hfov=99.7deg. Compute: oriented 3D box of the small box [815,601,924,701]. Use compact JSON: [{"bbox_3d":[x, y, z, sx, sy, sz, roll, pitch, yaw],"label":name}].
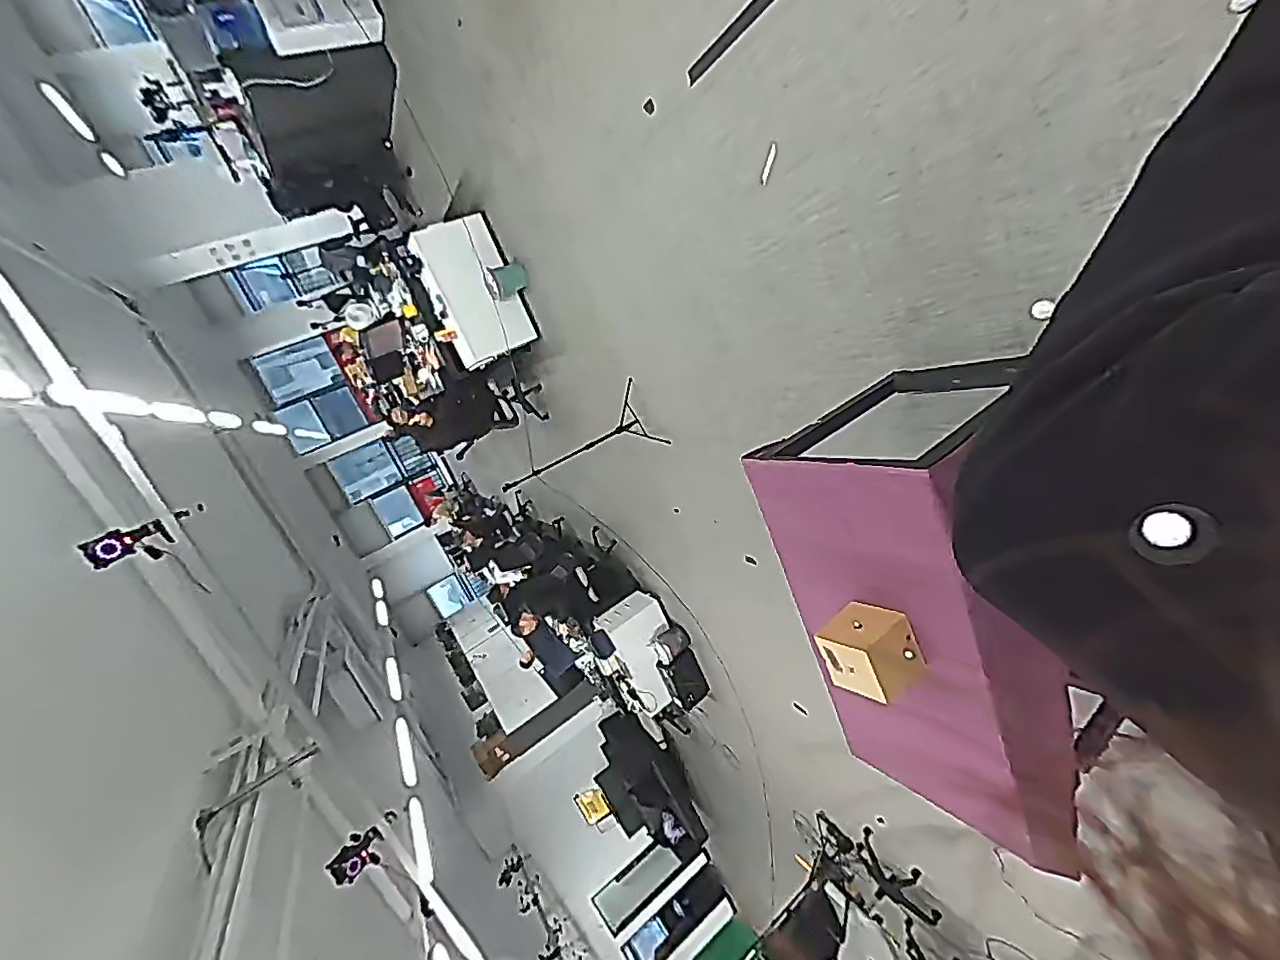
[{"bbox_3d":[0.609,0.443,1.437,0.179,0.176,0.168,-3,116,63],"label":"small box"}]
